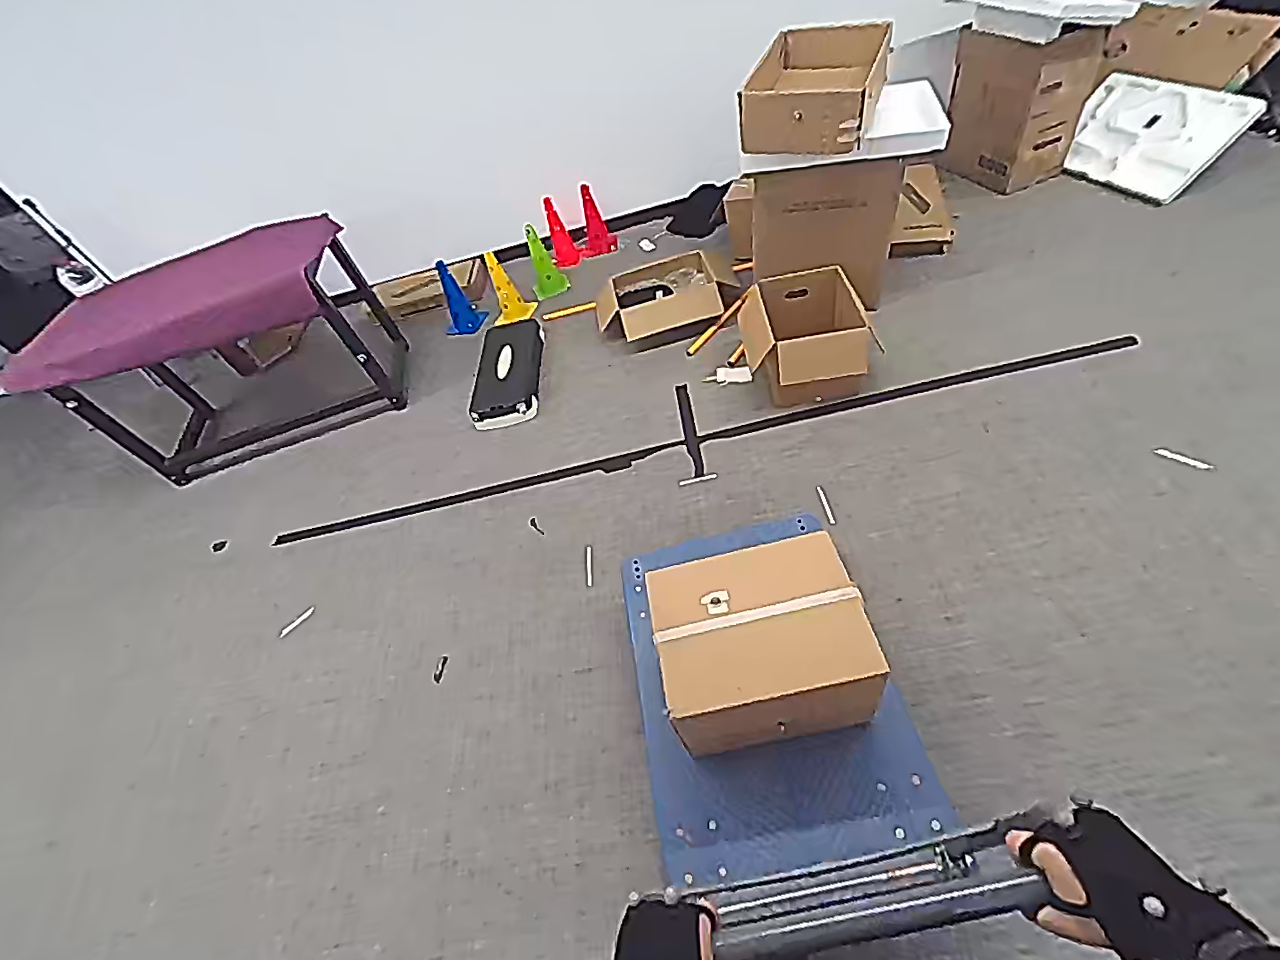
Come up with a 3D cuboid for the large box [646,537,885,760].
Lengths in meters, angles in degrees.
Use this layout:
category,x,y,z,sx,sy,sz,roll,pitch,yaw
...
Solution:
category,x,y,z,sx,sy,sz,roll,pitch,yaw
large box,0.262,0.378,1.187,0.408,0.320,0.320,-15,48,5
